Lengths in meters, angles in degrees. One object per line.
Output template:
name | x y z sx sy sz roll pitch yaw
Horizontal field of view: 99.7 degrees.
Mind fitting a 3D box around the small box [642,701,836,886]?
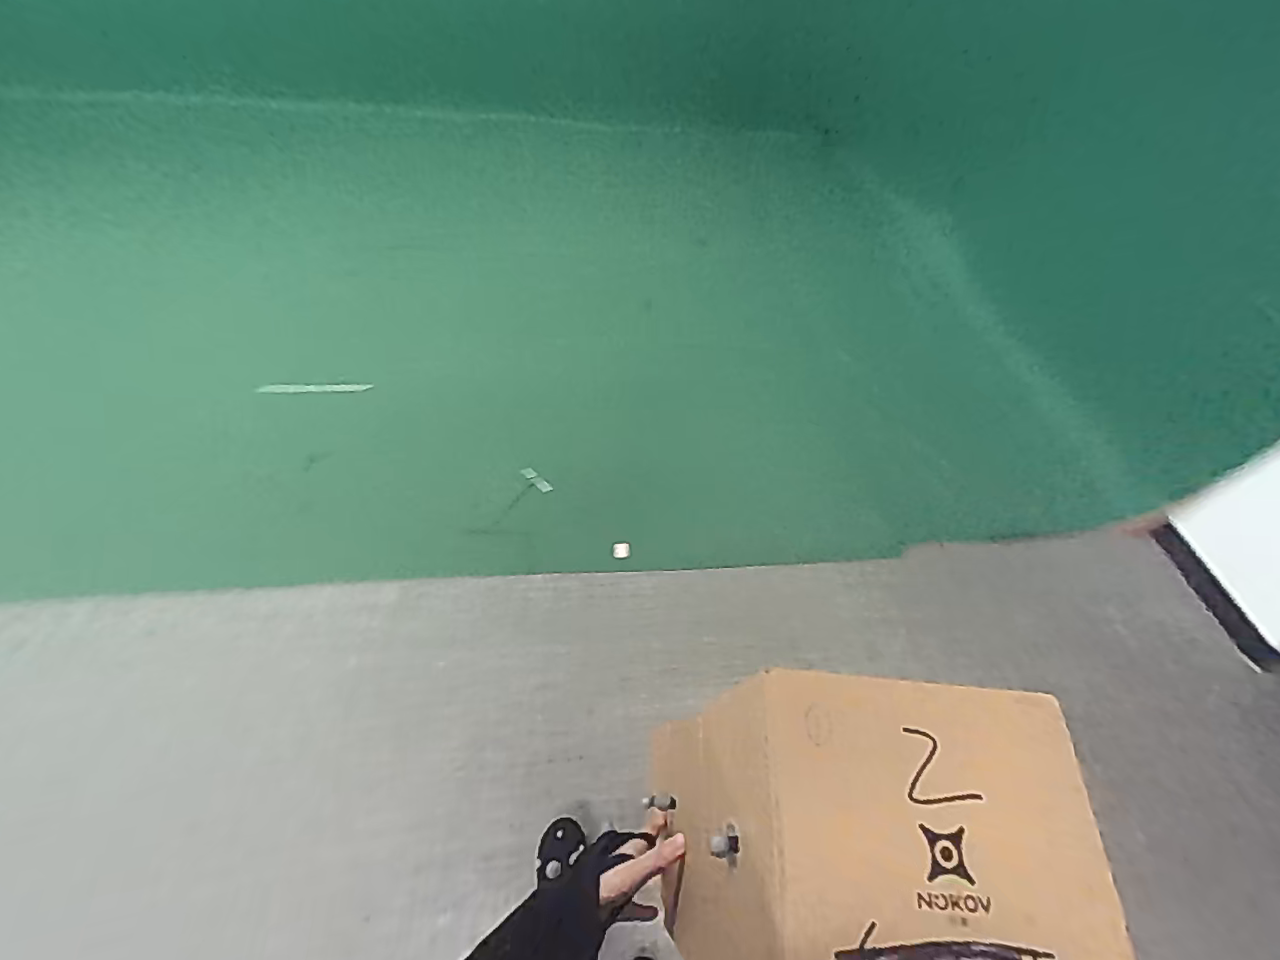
small box | 0.100 0.356 0.629 0.179 0.176 0.168 3 61 -5
